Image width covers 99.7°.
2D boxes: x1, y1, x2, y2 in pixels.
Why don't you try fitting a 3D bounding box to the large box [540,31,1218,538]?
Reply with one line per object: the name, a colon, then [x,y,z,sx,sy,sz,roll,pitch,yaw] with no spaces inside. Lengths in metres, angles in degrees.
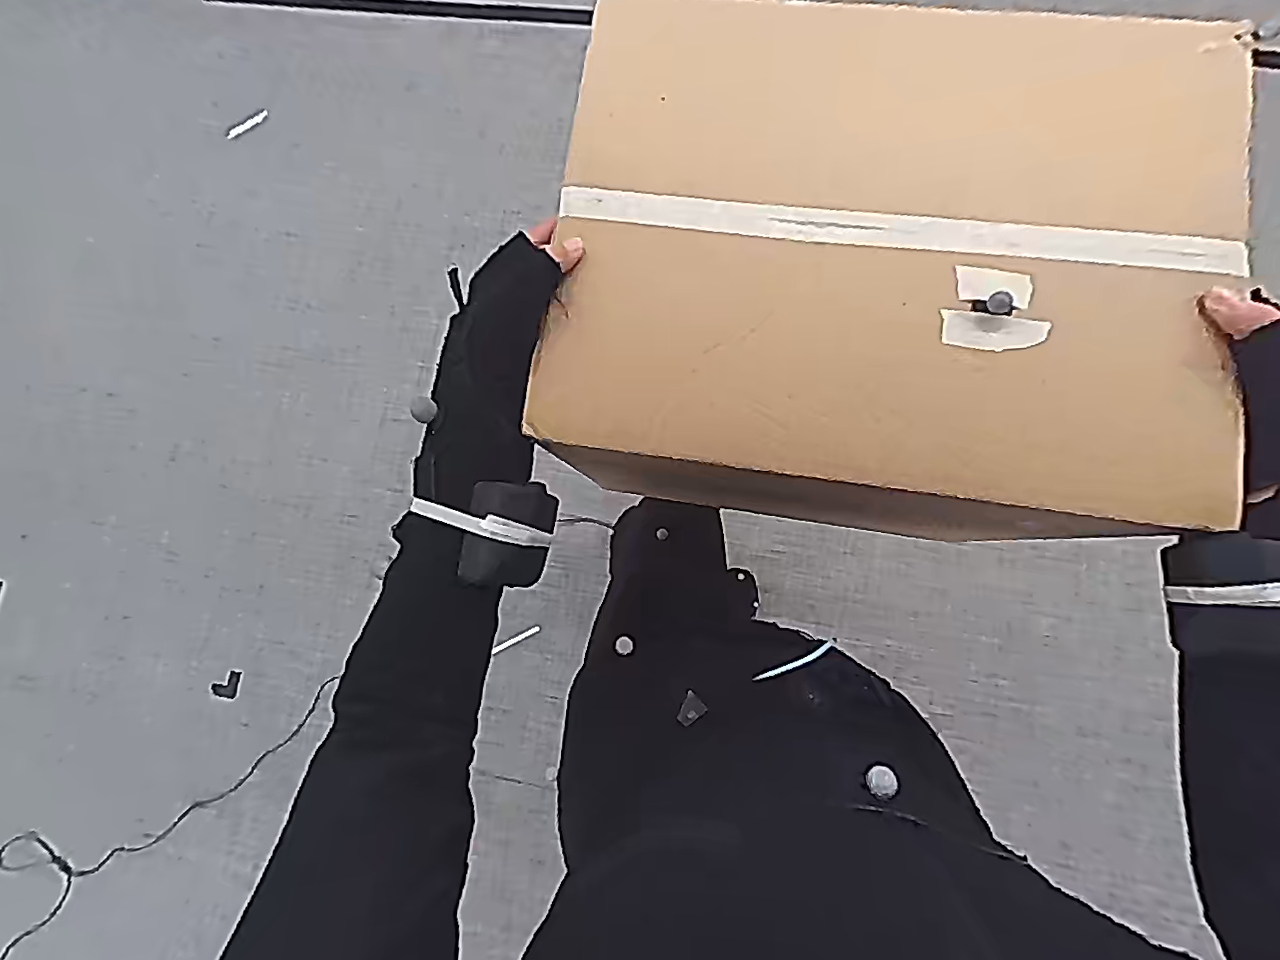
large box: [0.159,-0.126,0.493,0.408,0.320,0.320,8,85,6]
